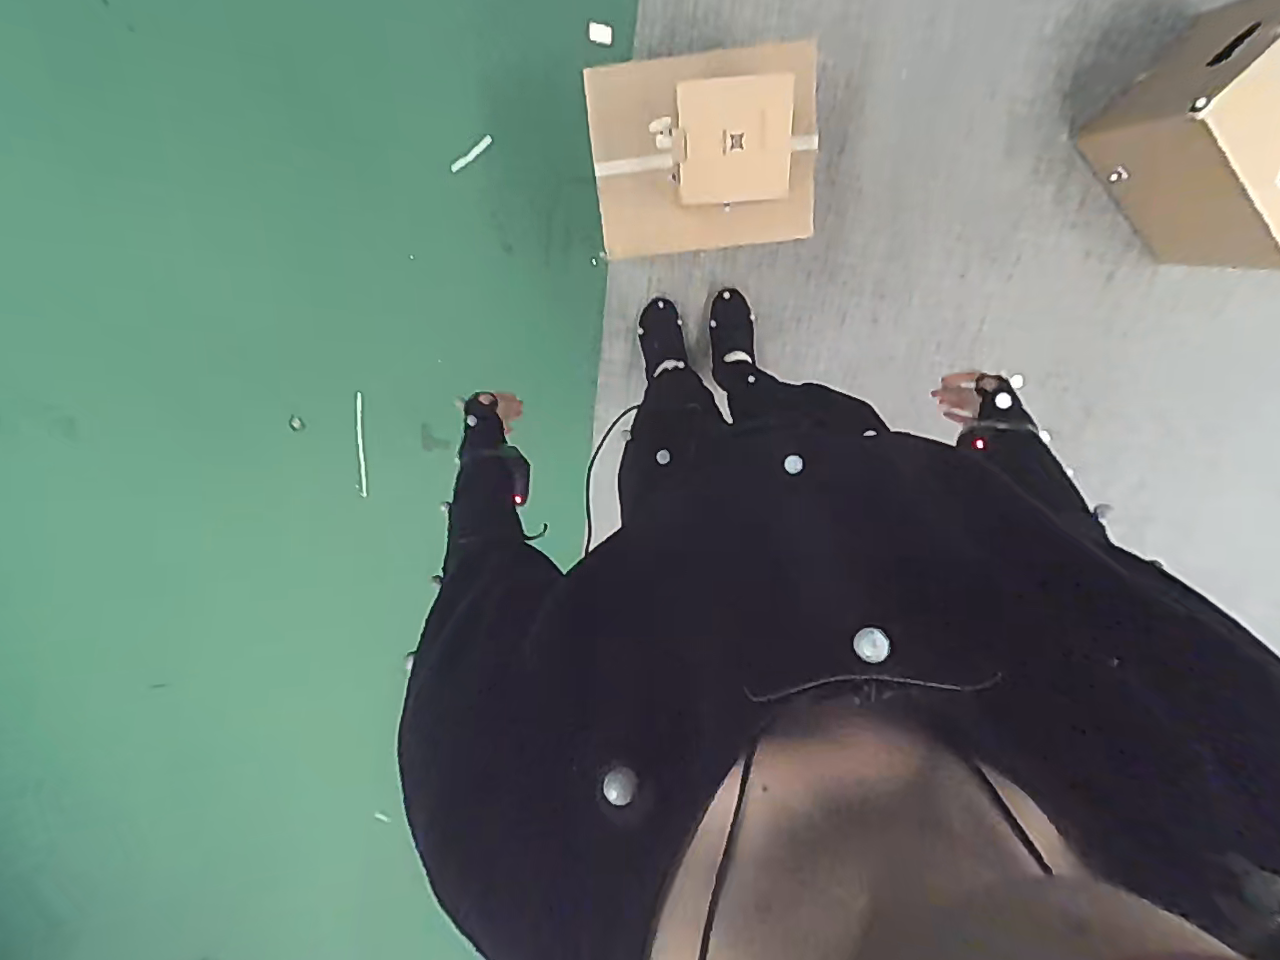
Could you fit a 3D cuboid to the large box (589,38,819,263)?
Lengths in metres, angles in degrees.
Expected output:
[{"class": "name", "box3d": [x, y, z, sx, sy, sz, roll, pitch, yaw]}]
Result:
[{"class": "large box", "box3d": [0.131, -0.644, 1.118, 0.408, 0.320, 0.320, -5, 113, 5]}]

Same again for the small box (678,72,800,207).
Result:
[{"class": "small box", "box3d": [0.152, -0.548, 0.891, 0.179, 0.176, 0.168, -3, 115, 2]}]
